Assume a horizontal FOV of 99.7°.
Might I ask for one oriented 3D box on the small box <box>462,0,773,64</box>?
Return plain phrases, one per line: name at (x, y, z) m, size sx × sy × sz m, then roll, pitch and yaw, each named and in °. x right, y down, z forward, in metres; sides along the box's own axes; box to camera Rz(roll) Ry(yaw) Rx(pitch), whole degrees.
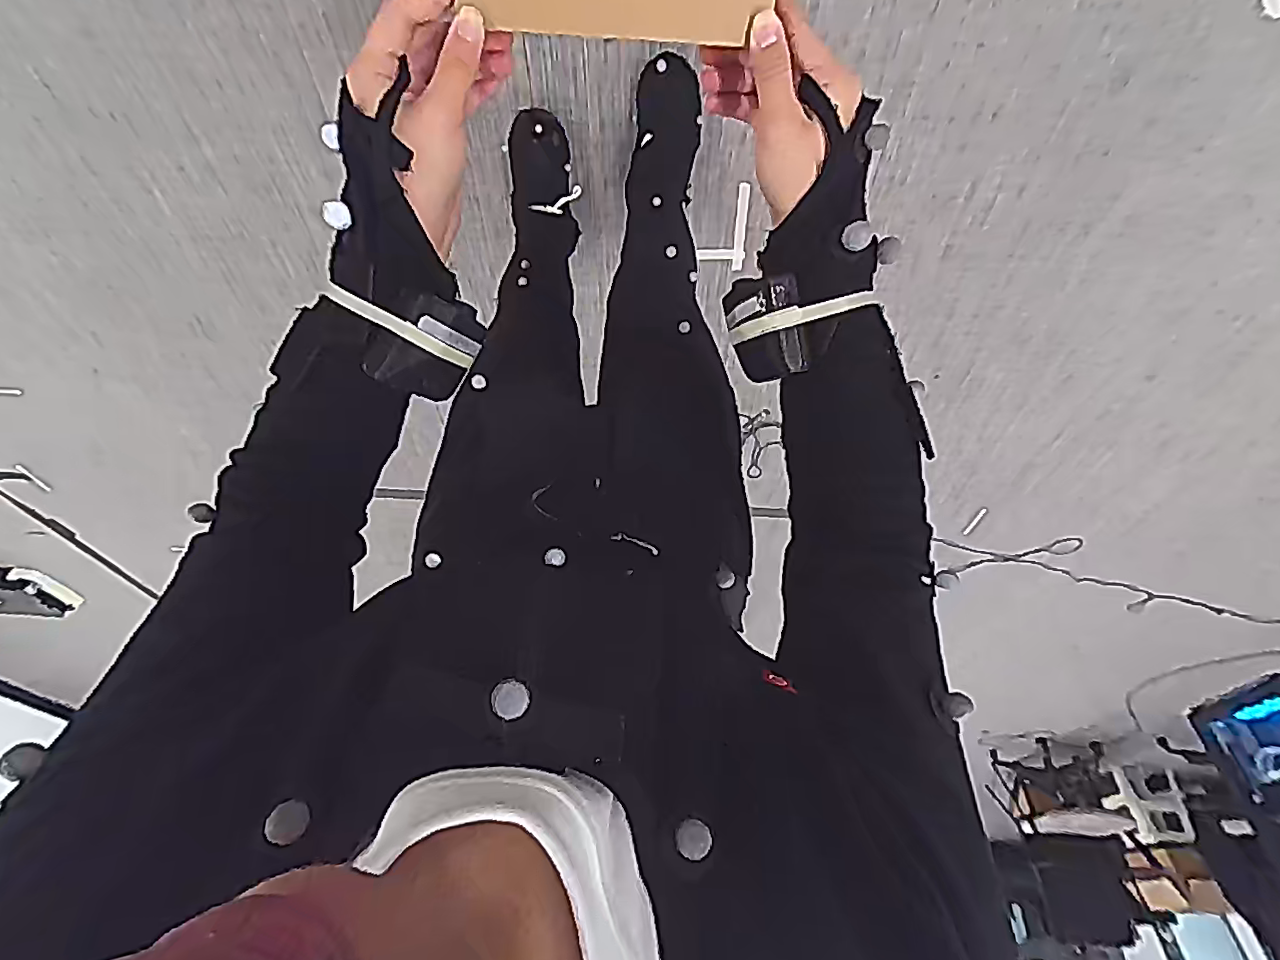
small box at (-0.007, -0.352, 0.284) m, size 0.168 × 0.176 × 0.179 m, roll 2°, pitch 139°, yaw -4°
